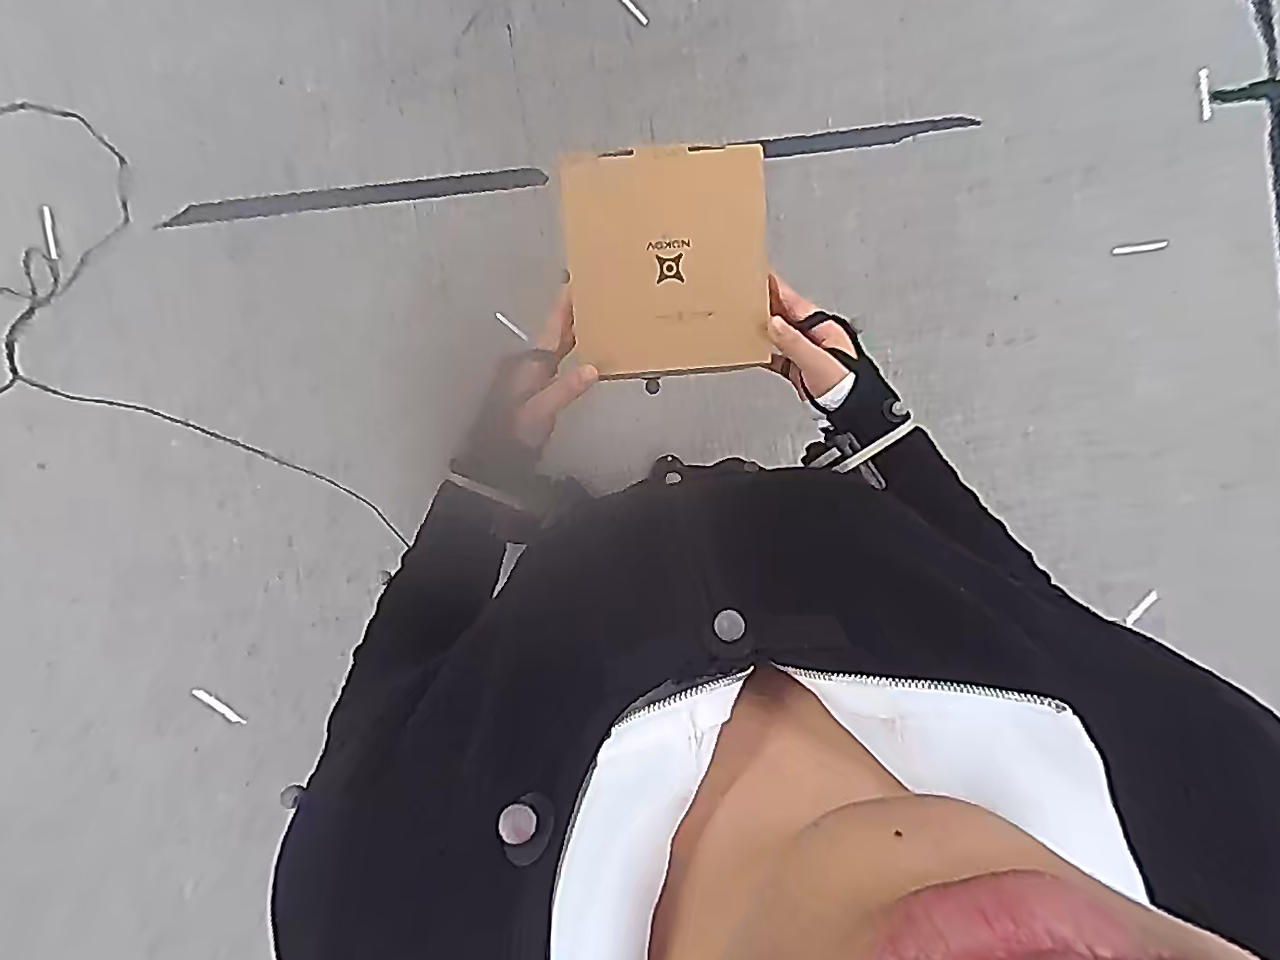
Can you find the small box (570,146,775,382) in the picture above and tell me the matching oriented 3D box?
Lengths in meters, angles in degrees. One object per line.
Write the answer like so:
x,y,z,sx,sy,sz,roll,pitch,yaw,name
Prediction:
0.024,-0.190,0.524,0.168,0.176,0.179,-5,99,-2,small box
